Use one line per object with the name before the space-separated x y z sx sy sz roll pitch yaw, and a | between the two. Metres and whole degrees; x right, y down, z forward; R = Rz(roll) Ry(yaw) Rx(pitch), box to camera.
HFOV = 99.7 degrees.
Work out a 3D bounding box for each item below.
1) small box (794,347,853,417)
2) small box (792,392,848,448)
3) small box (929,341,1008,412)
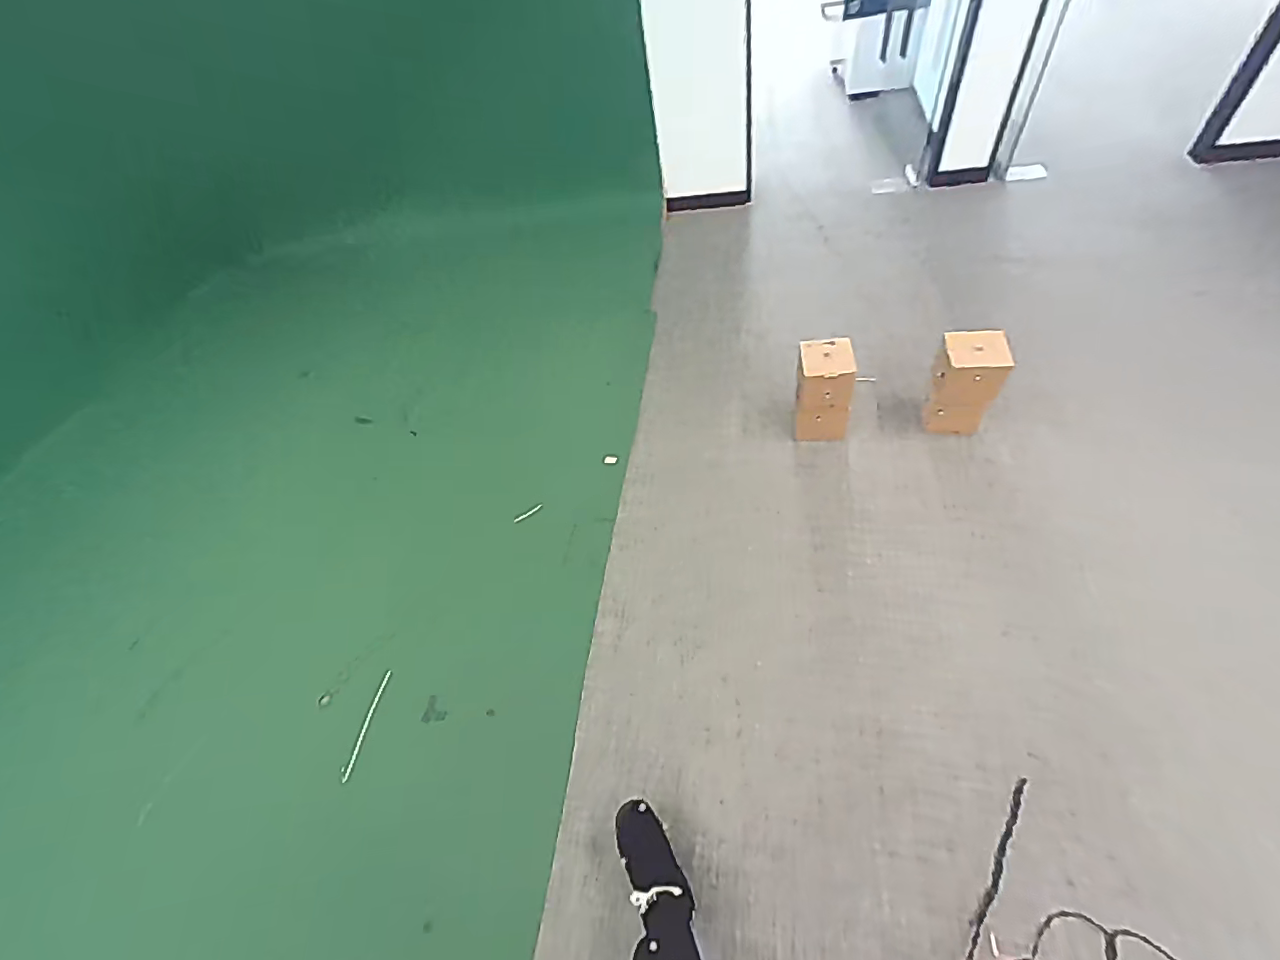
small box | 0.627 -0.331 1.863 0.168 0.176 0.179 -2 53 9
small box | 0.656 -0.231 1.990 0.179 0.176 0.168 1 53 11
small box | 1.069 -0.339 1.781 0.179 0.176 0.168 2 54 12
